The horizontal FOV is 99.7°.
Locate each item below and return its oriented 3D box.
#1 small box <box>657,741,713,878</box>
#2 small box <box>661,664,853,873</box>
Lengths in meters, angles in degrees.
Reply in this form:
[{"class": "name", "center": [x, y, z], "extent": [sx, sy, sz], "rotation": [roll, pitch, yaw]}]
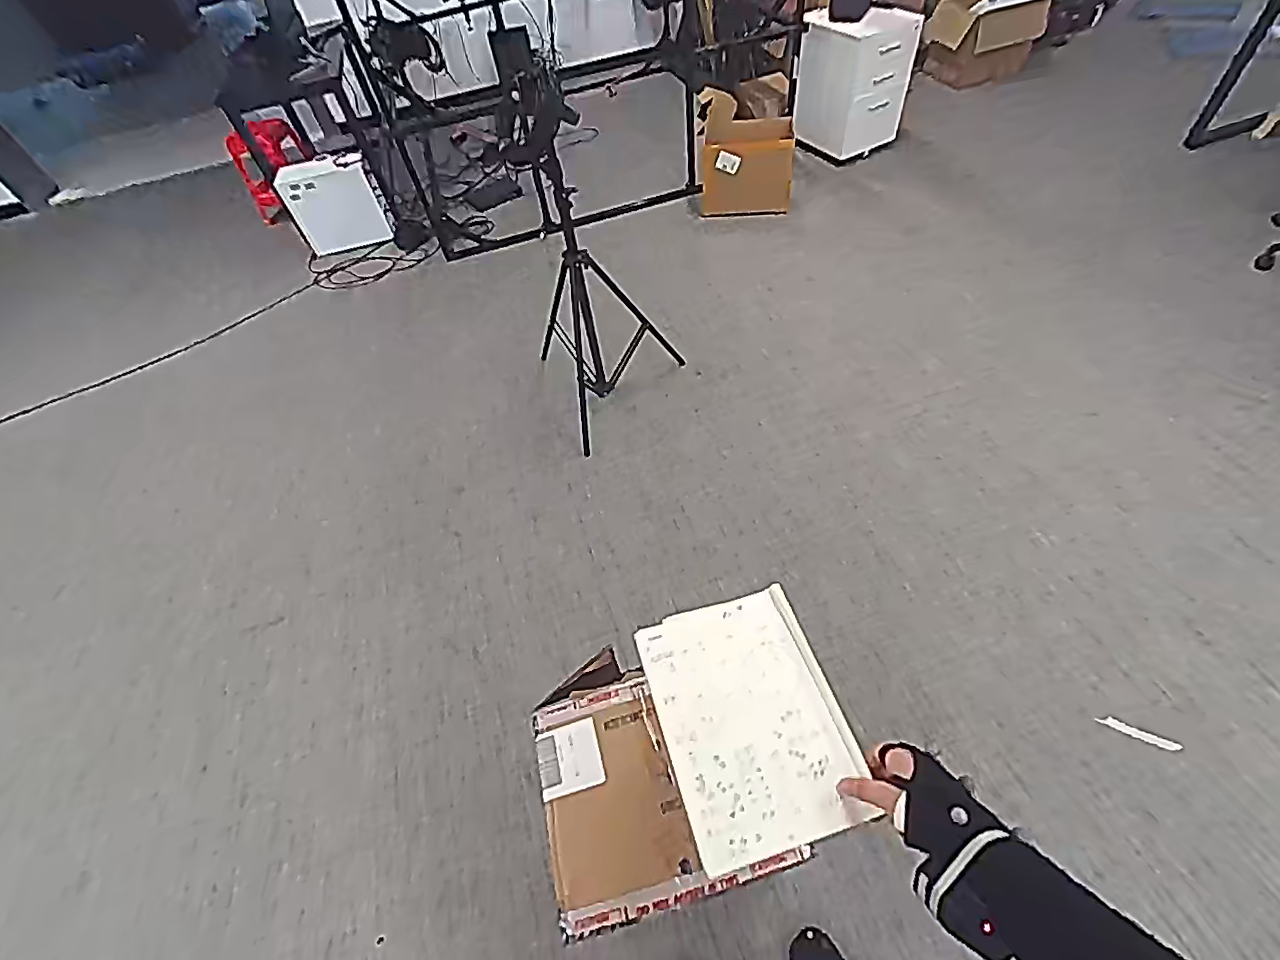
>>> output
[{"class": "small box", "center": [0.134, 0.459, 0.798], "extent": [0.179, 0.176, 0.168], "rotation": [-18, 53, -8]}, {"class": "small box", "center": [0.127, 0.358, 0.668], "extent": [0.168, 0.176, 0.179], "rotation": [-15, 54, -7]}]
